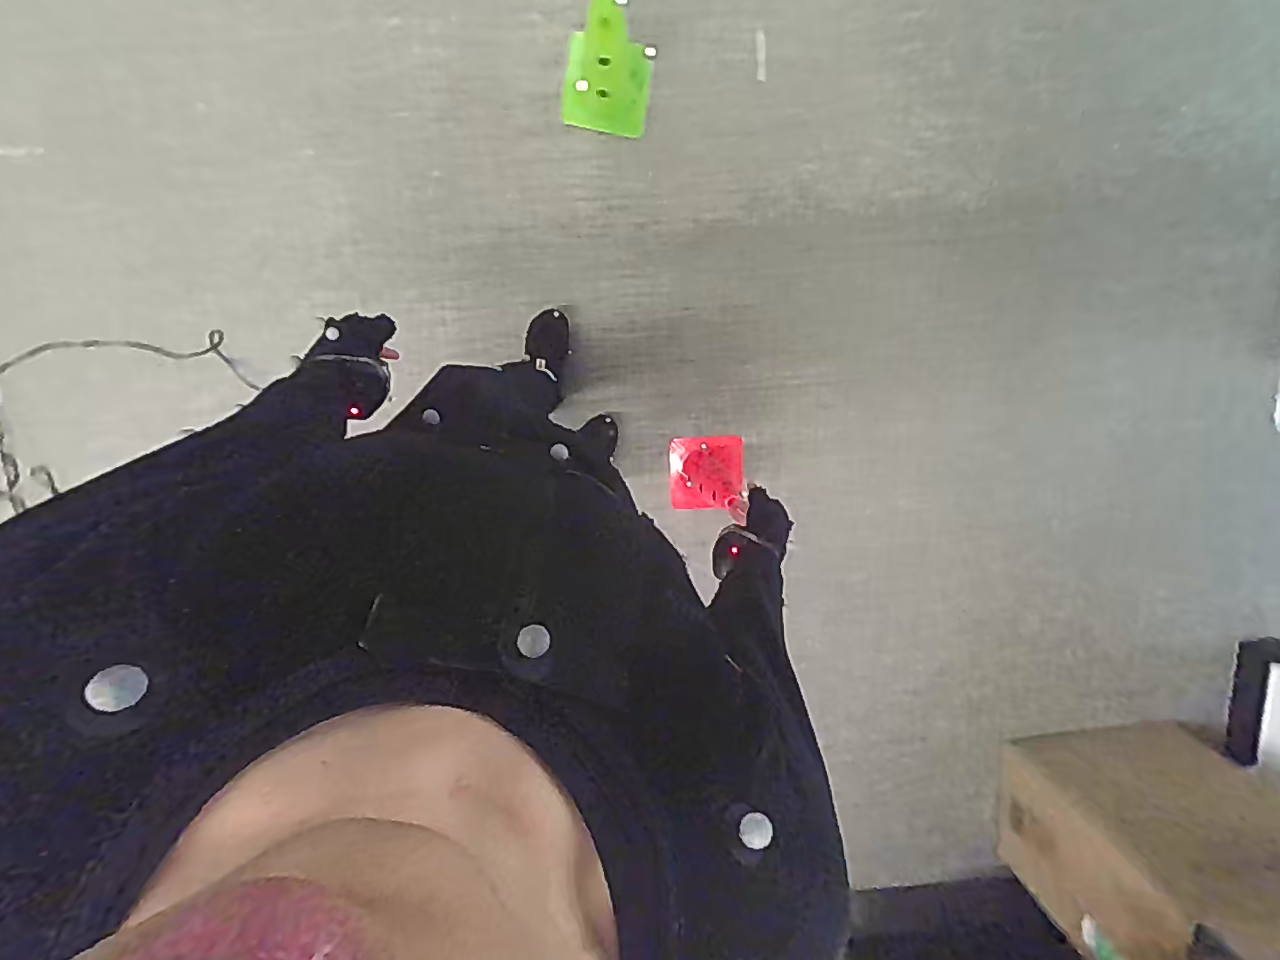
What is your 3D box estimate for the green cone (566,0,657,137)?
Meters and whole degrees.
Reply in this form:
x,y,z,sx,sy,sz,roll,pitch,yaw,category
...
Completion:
x,y,z,sx,sy,sz,roll,pitch,yaw,category
-0.062,-0.909,1.122,0.200,0.368,0.202,8,100,-4,green cone
